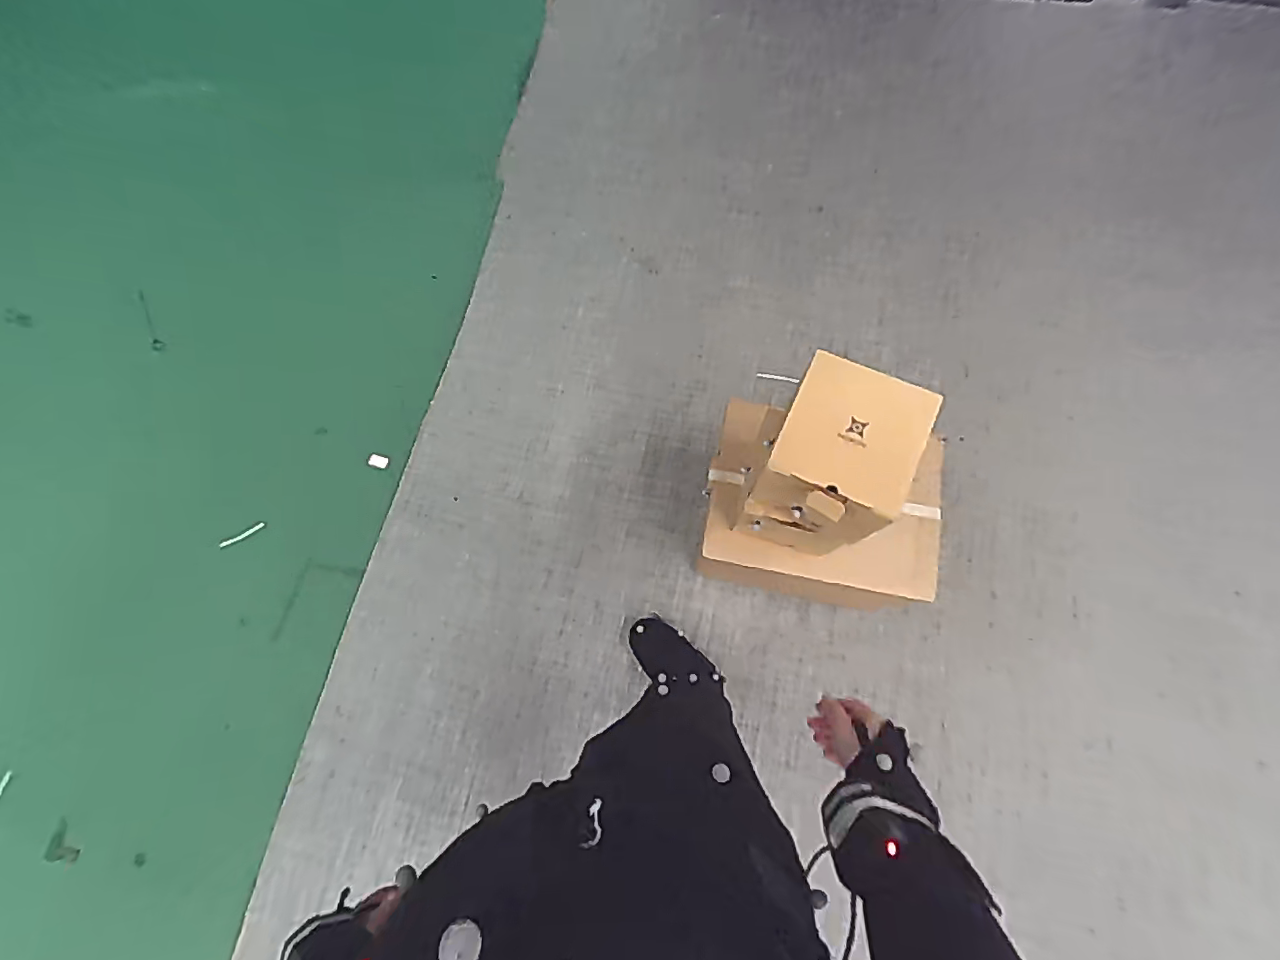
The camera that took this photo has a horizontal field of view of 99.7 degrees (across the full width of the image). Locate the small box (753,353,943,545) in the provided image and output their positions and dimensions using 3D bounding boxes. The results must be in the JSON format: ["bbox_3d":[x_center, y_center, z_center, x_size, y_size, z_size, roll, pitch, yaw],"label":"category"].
[{"bbox_3d":[0.266,-0.033,0.730,0.168,0.176,0.179,24,77,10],"label":"small box"}]

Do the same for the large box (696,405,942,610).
[{"bbox_3d":[0.341,0.073,1.119,0.408,0.320,0.320,10,75,5],"label":"large box"}]
